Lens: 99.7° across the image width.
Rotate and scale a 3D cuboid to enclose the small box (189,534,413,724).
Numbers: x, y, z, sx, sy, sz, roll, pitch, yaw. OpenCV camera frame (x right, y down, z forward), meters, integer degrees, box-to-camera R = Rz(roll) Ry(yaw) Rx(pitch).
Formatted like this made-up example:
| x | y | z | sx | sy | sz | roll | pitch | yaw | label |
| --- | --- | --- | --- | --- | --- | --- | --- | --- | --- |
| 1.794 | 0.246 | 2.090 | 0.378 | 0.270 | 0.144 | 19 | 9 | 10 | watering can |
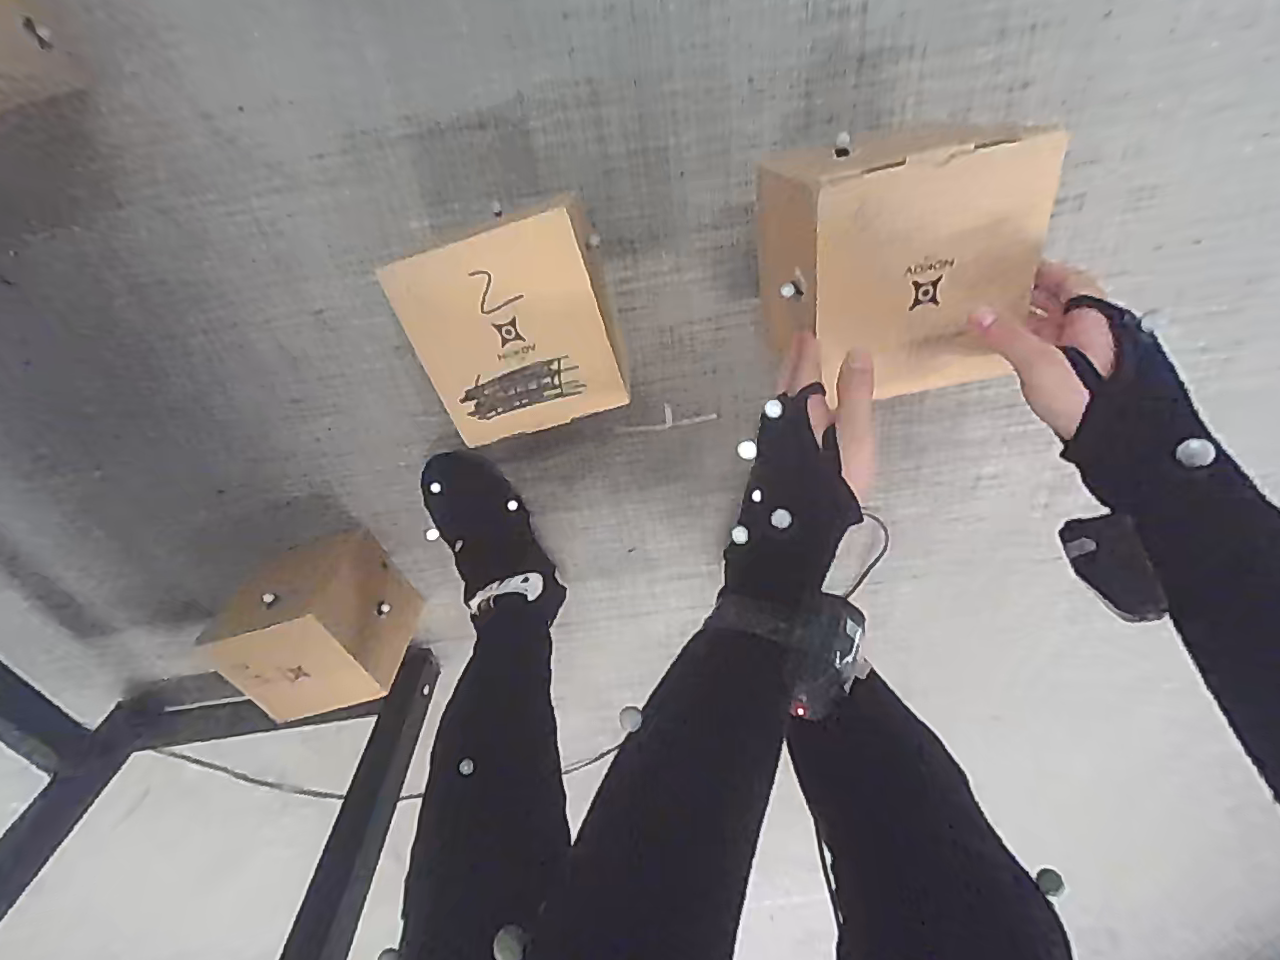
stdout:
| x | y | z | sx | sy | sz | roll | pitch | yaw | label |
| --- | --- | --- | --- | --- | --- | --- | --- | --- | --- |
| -0.438 | 0.197 | 0.741 | 0.179 | 0.176 | 0.168 | -16 | 121 | 8 | small box |
